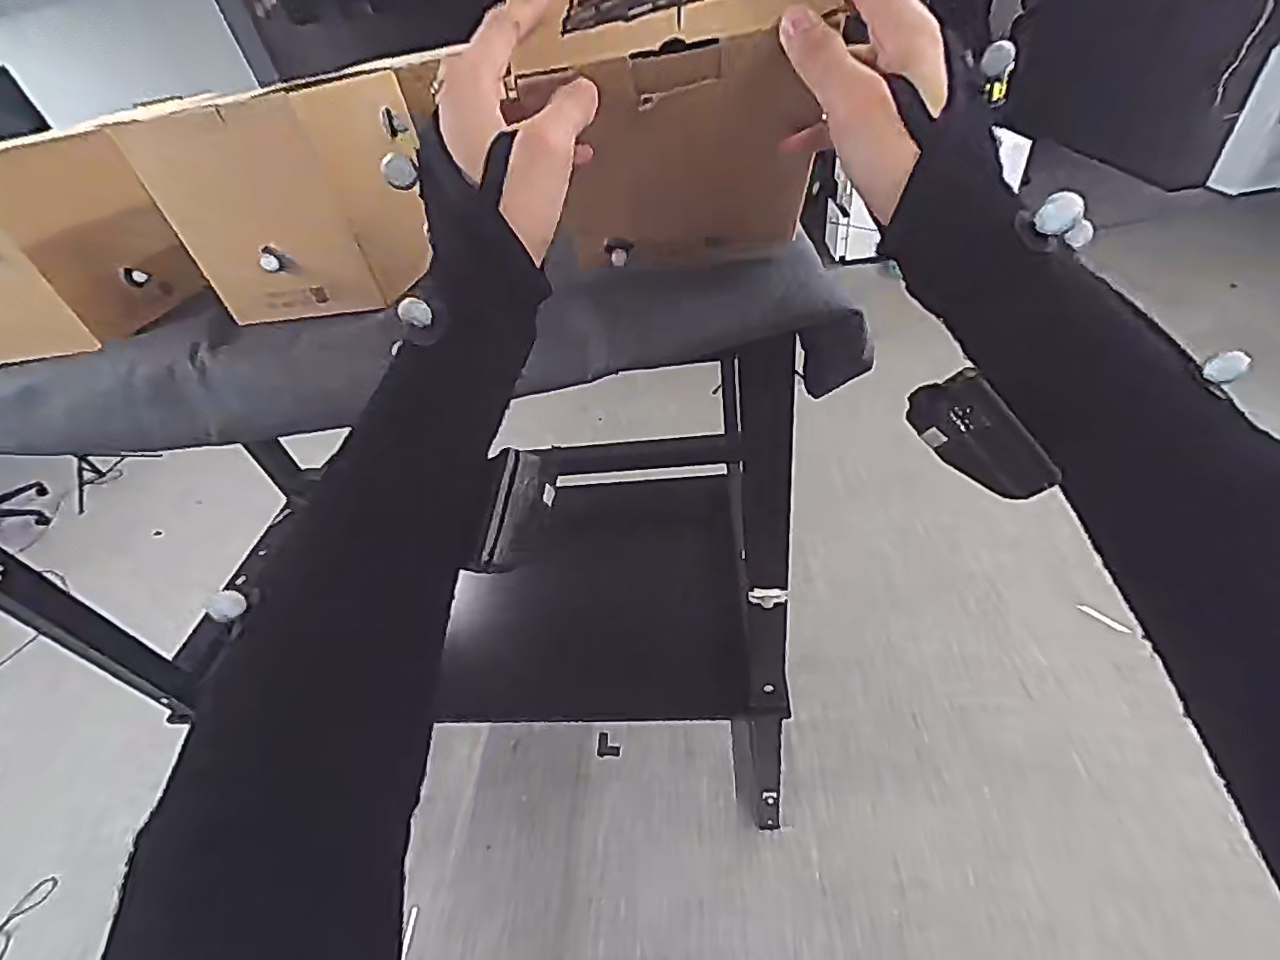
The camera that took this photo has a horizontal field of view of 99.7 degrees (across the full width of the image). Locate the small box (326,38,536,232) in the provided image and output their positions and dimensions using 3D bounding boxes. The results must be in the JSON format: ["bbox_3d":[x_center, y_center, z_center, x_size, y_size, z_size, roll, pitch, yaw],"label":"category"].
[{"bbox_3d":[-0.238,-0.418,0.669,0.168,0.176,0.179,-5,43,6],"label":"small box"}]

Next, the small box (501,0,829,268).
[{"bbox_3d":[0.014,-0.266,0.365,0.168,0.176,0.179,-7,74,5],"label":"small box"}]

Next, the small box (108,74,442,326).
[{"bbox_3d":[-0.315,-0.266,0.519,0.168,0.176,0.179,-3,42,11],"label":"small box"}]

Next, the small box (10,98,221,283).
[{"bbox_3d":[-0.633,-0.385,0.728,0.179,0.176,0.168,-4,43,9],"label":"small box"}]
